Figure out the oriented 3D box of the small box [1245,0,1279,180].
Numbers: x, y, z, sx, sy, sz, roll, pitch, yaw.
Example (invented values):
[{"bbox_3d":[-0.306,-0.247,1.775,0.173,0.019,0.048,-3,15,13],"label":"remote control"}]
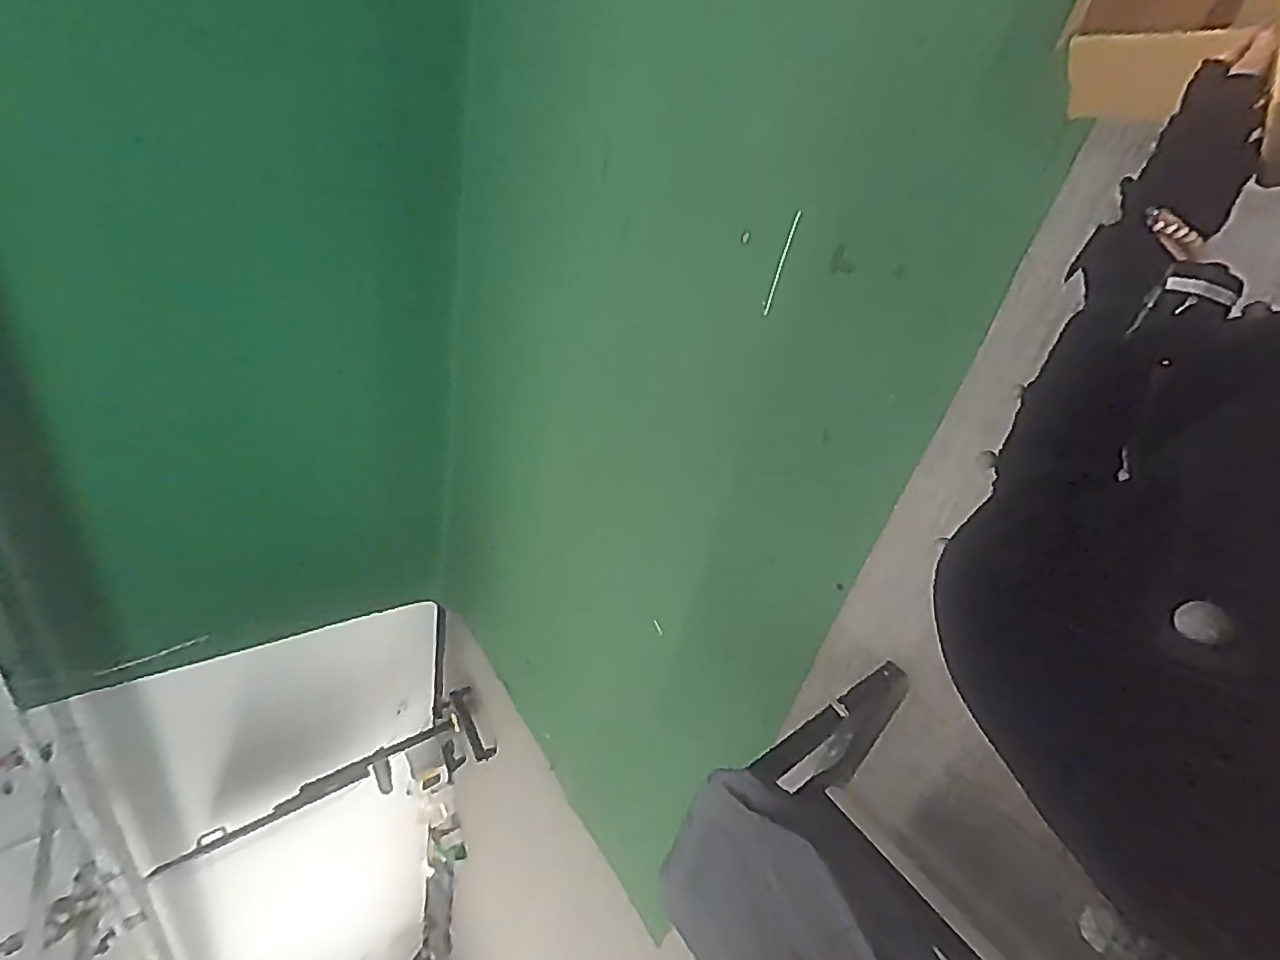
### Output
[{"bbox_3d":[0.494,-0.303,0.310,0.179,0.176,0.168,8,99,45],"label":"small box"}]
